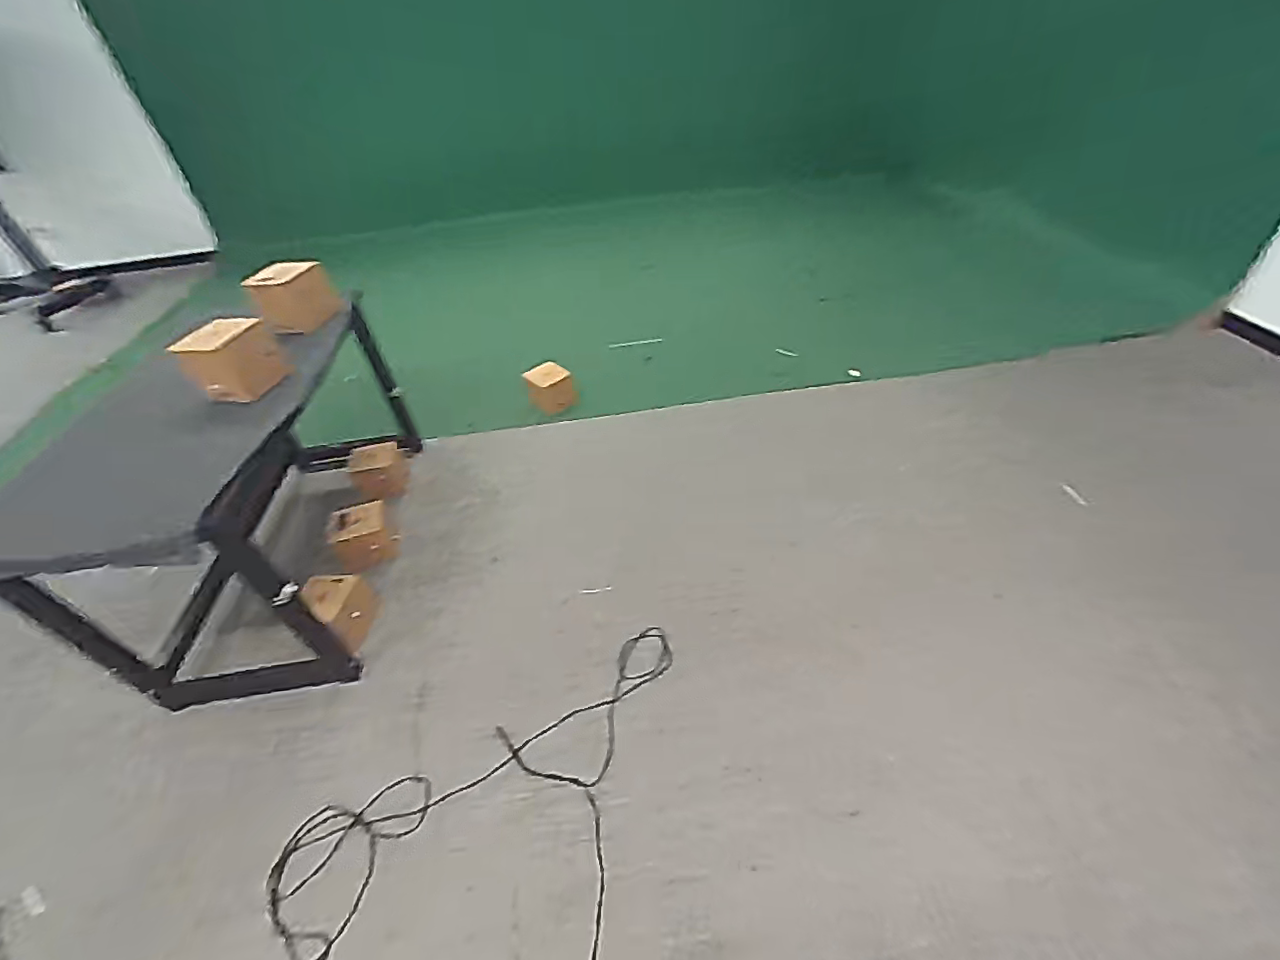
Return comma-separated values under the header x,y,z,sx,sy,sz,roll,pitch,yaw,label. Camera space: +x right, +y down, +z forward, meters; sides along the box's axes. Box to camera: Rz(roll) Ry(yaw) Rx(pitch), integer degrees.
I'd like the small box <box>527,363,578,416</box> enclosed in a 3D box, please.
x,y,z,sx,sy,sz,roll,pitch,yaw,label
-0.421,-0.439,2.630,0.168,0.176,0.179,-34,50,-27,small box

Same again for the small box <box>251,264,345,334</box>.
x,y,z,sx,sy,sz,roll,pitch,yaw,label
-1.137,-0.605,1.815,0.168,0.176,0.179,5,45,15,small box

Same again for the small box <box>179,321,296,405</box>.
x,y,z,sx,sy,sz,roll,pitch,yaw,label
-1.121,-0.332,1.528,0.168,0.176,0.179,3,45,15,small box

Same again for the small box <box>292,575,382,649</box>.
x,y,z,sx,sy,sz,roll,pitch,yaw,label
-0.974,0.432,1.761,0.168,0.176,0.179,0,44,7,small box

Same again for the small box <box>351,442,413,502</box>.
x,y,z,sx,sy,sz,roll,pitch,yaw,label
-1.074,-0.031,2.269,0.179,0.176,0.168,-11,42,-5,small box
